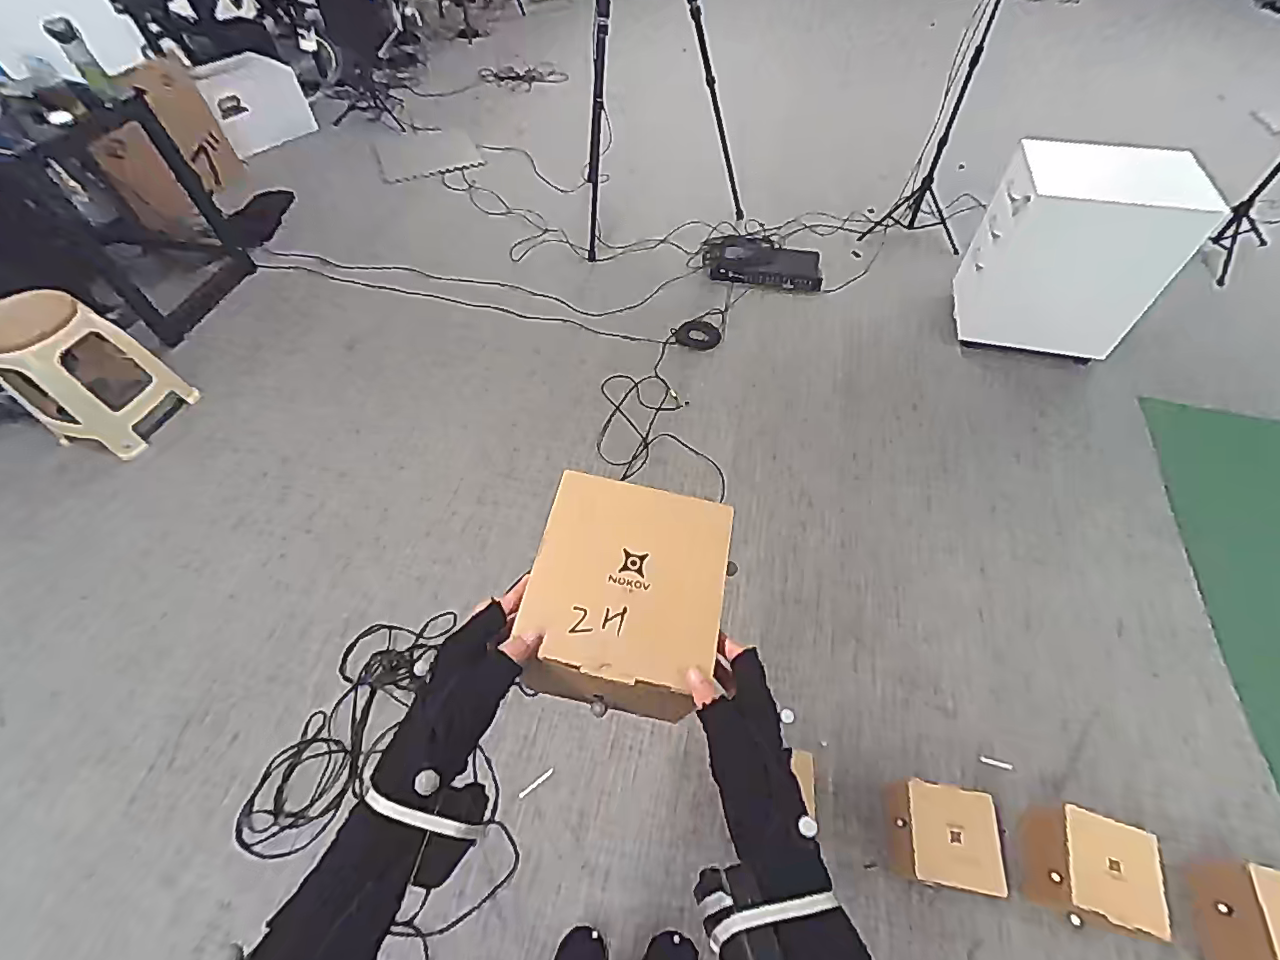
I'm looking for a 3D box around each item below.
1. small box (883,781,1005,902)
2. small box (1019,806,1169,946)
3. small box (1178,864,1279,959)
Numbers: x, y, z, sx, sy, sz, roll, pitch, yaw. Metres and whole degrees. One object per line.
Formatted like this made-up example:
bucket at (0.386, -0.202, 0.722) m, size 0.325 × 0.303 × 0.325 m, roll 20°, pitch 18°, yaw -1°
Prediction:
small box at (0.622, 0.755, 1.133) m, size 0.168 × 0.176 × 0.179 m, roll 7°, pitch 56°, yaw 8°
small box at (0.902, 0.796, 1.097) m, size 0.168 × 0.176 × 0.179 m, roll 15°, pitch 56°, yaw 12°
small box at (1.207, 0.867, 1.037) m, size 0.168 × 0.176 × 0.179 m, roll 11°, pitch 54°, yaw 10°
